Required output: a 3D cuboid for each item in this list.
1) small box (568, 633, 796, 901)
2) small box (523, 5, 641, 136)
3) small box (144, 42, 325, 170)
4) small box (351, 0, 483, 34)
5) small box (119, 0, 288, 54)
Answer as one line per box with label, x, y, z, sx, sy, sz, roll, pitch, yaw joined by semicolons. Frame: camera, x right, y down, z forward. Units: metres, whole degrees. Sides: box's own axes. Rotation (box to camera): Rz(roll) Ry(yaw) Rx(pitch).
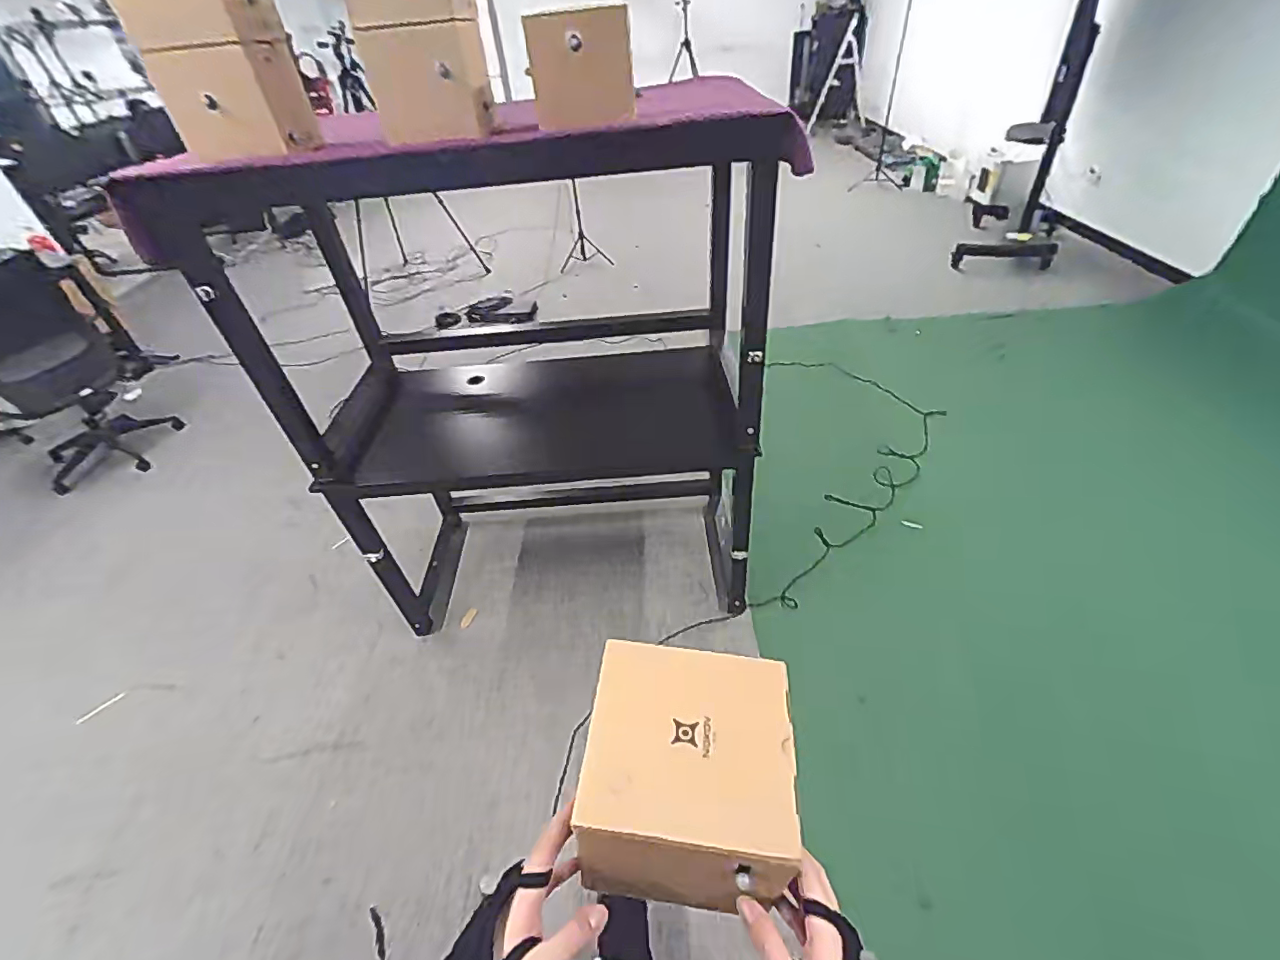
small box;0.038;0.272;0.515;0.179;0.176;0.168;6;40;4
small box;-0.094;-0.733;0.971;0.179;0.176;0.168;-3;43;4
small box;-0.720;-0.684;0.989;0.179;0.176;0.168;-6;40;1
small box;-0.380;-0.848;0.887;0.179;0.176;0.168;-3;41;4
small box;-0.731;-0.810;0.883;0.179;0.176;0.168;-4;41;1
